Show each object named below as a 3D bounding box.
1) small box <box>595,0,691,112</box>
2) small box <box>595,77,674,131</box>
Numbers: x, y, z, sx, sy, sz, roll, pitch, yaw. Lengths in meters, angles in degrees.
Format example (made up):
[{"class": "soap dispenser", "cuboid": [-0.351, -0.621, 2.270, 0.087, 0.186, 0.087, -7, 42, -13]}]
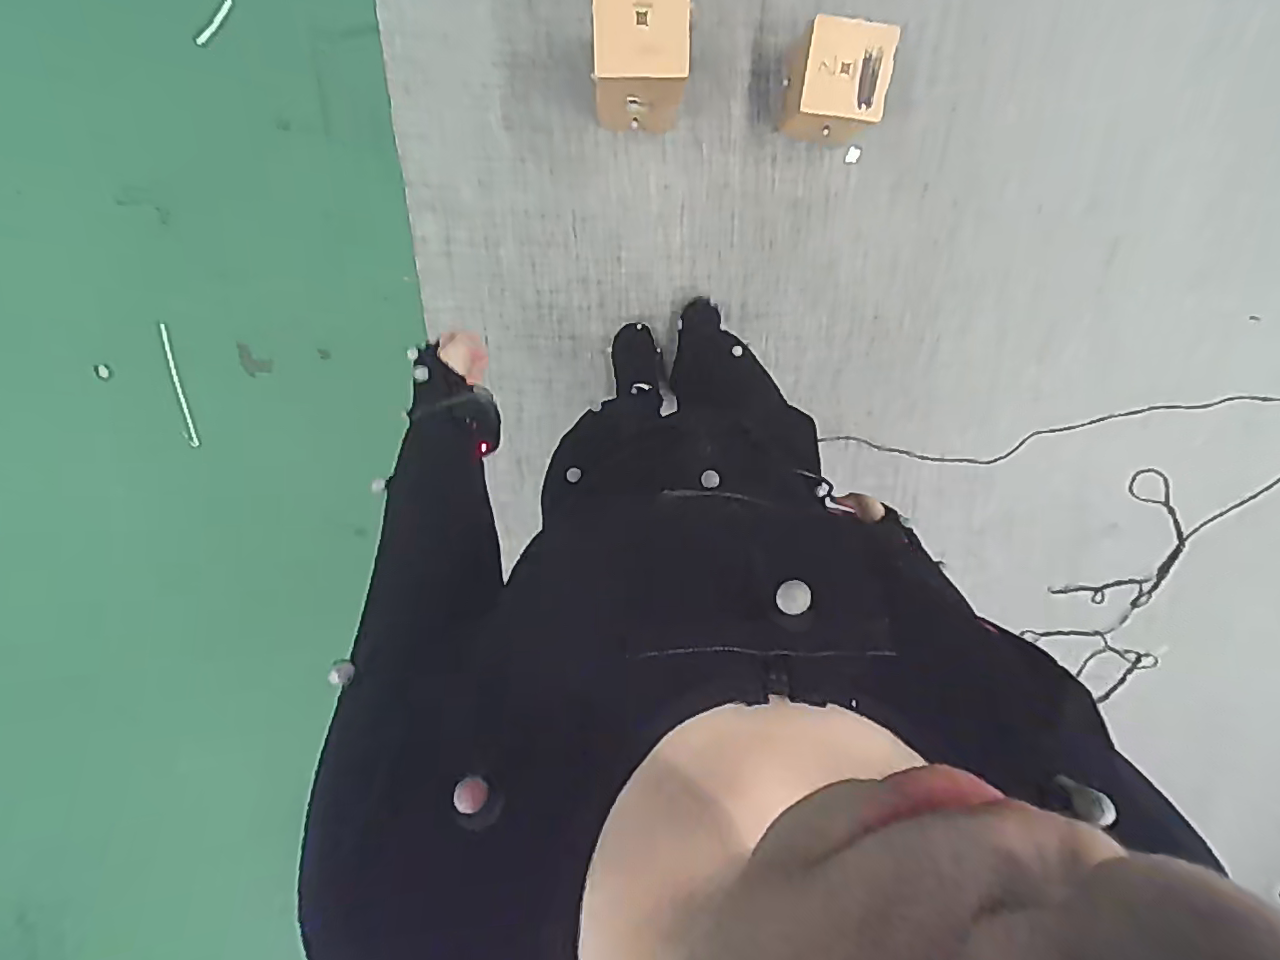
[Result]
[{"class": "small box", "cuboid": [0.002, -0.803, 0.991, 0.168, 0.176, 0.179, -1, 111, 0]}, {"class": "small box", "cuboid": [-0.006, -0.860, 1.143, 0.168, 0.176, 0.179, 2, 110, -3]}]
